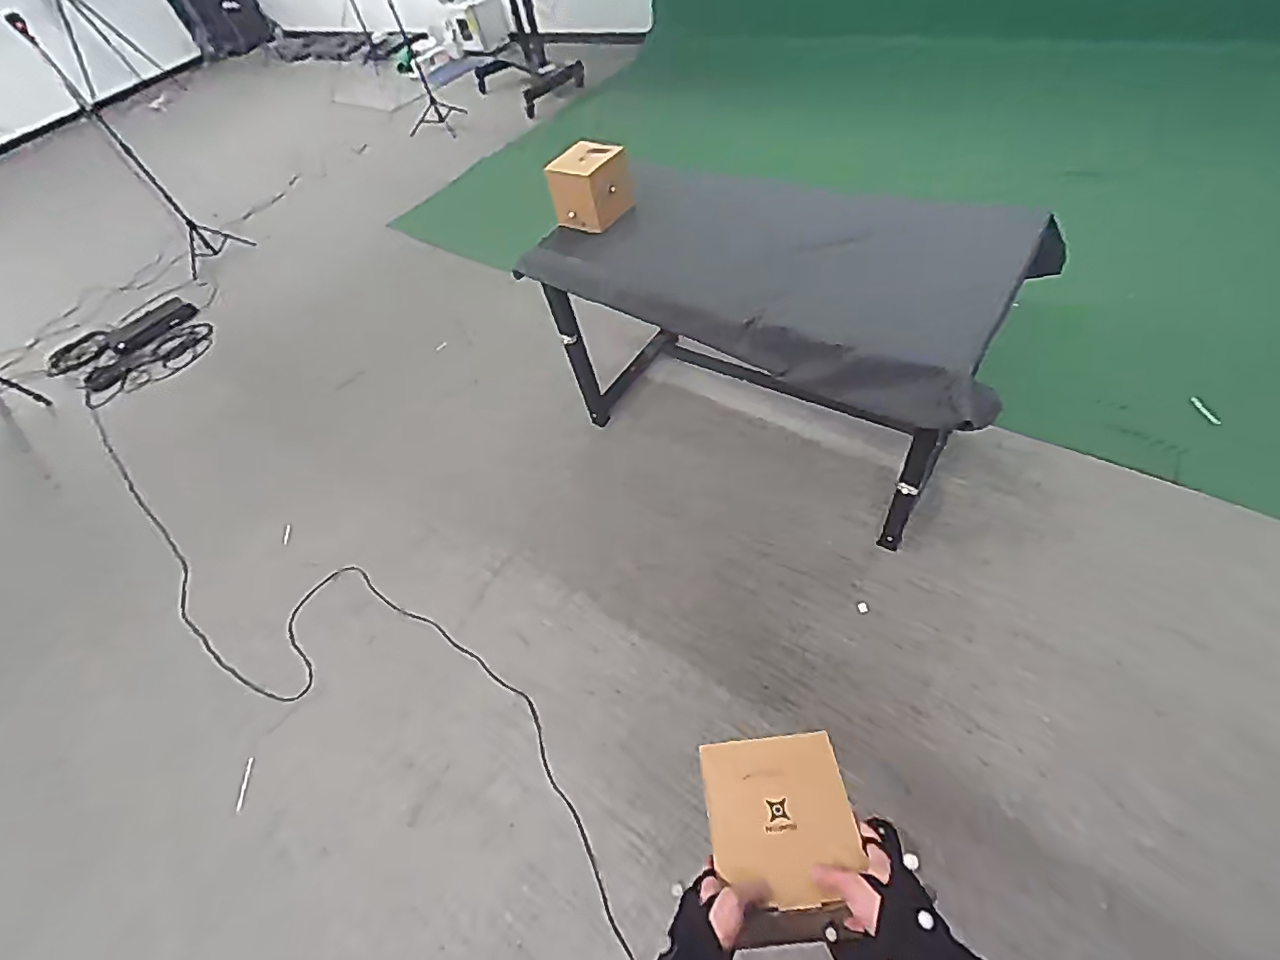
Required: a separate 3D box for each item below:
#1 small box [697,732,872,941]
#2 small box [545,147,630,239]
[{"bbox_3d":[0.169,0.450,0.680,0.168,0.176,0.179,-8,38,1],"label":"small box"},{"bbox_3d":[-0.146,-0.842,1.586,0.168,0.176,0.179,25,63,27],"label":"small box"}]
